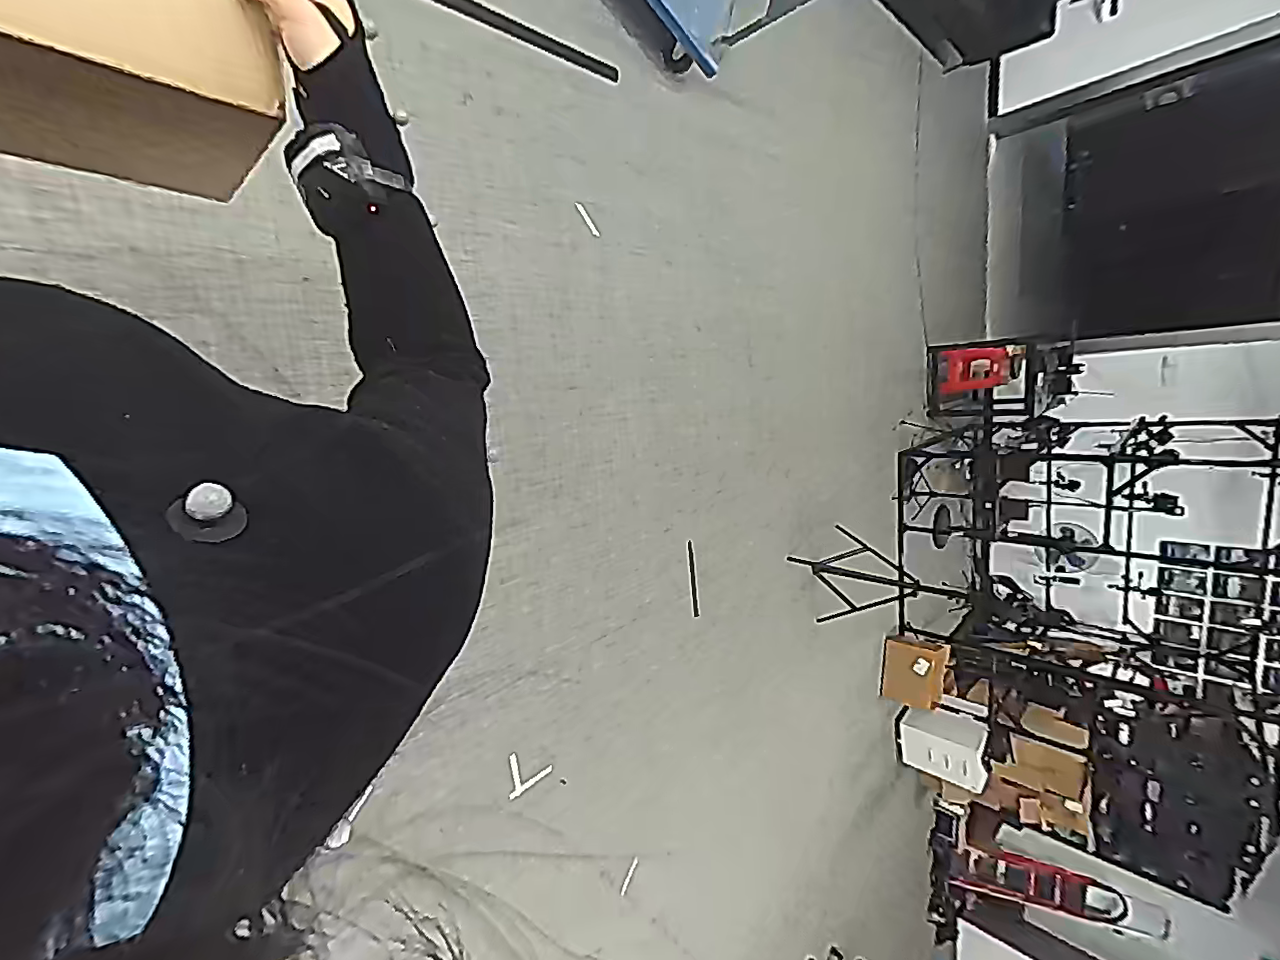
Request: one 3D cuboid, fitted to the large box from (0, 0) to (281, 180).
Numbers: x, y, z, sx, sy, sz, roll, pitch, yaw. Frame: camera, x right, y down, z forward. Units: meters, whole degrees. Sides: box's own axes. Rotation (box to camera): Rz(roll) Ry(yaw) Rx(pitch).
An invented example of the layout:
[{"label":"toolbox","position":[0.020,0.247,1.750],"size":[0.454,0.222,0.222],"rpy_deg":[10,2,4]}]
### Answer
[{"label":"large box","position":[-0.526,-0.452,0.375],"size":[0.408,0.320,0.320],"rpy_deg":[-8,104,-43]}]
